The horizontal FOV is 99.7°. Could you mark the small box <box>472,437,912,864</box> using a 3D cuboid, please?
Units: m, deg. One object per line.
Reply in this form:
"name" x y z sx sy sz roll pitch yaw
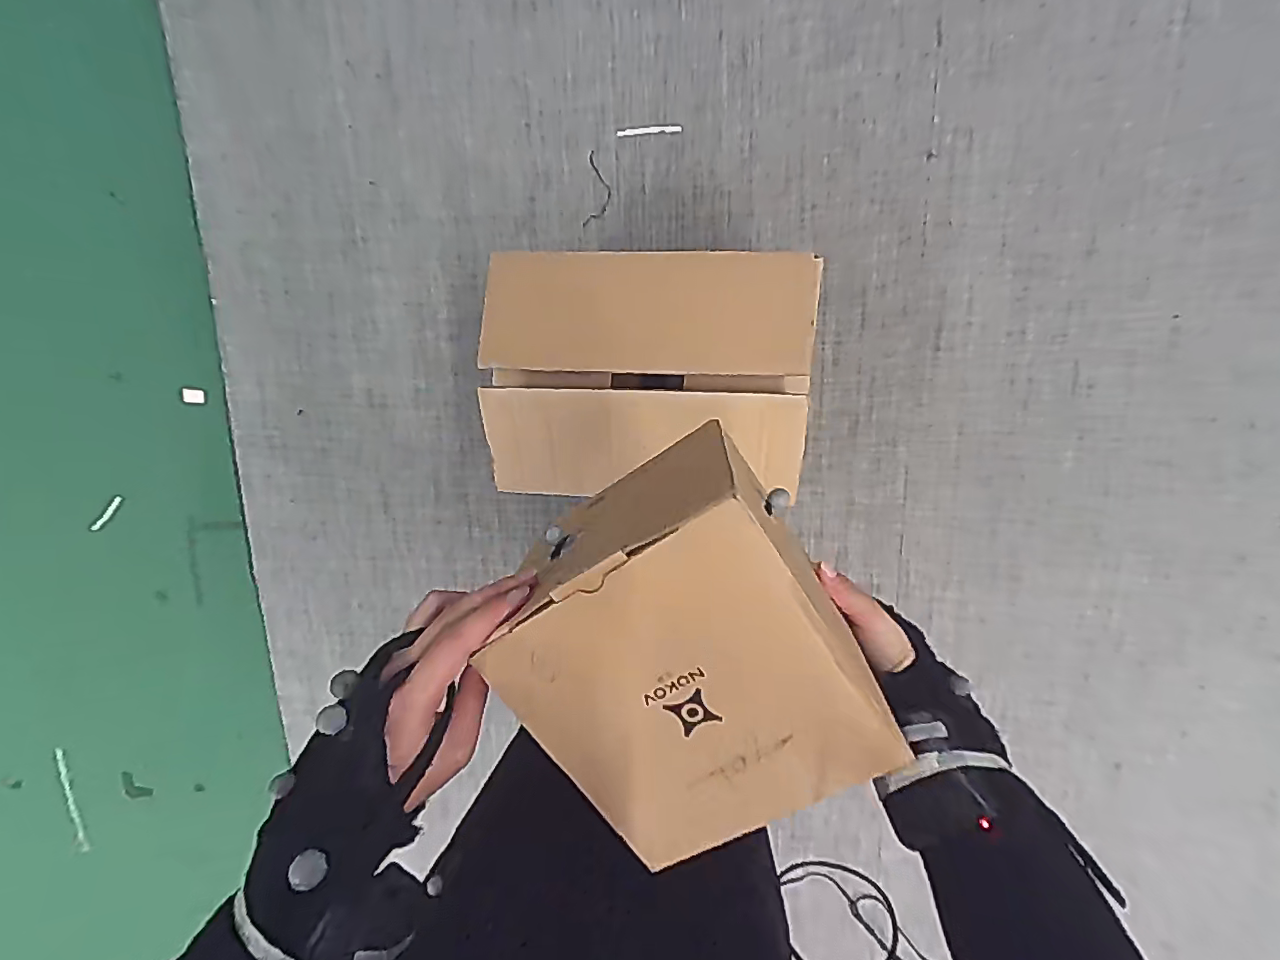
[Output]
"small box" 0.032 0.088 0.352 0.168 0.176 0.179 -32 103 15
